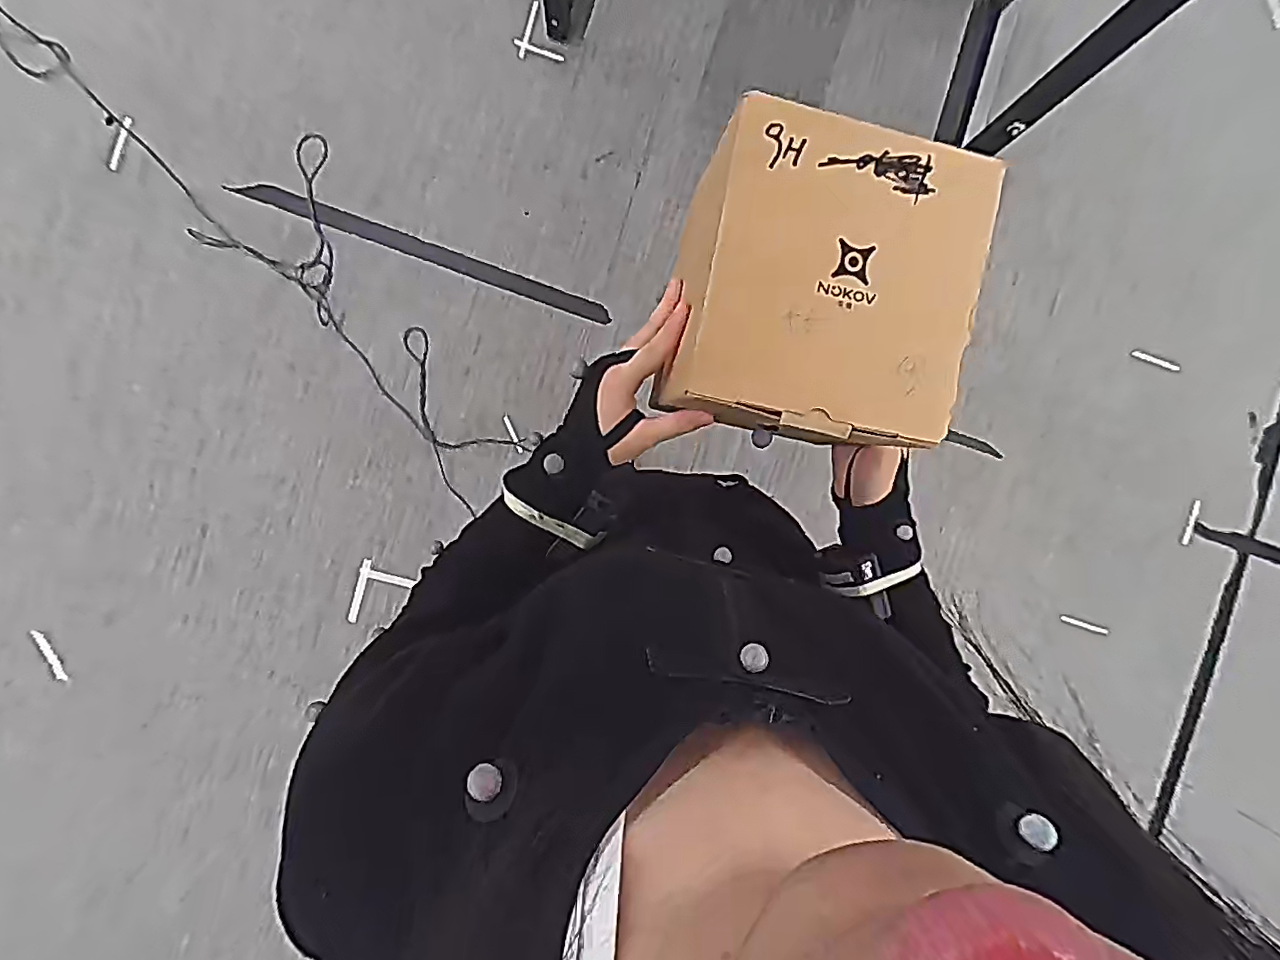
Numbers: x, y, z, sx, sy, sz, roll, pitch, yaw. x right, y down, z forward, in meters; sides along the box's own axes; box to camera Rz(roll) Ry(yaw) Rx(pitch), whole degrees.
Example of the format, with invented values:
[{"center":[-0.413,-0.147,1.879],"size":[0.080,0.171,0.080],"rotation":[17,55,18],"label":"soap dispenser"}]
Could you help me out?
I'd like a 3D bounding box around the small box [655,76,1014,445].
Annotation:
[{"center":[0.112,-0.128,0.388],"size":[0.168,0.176,0.179],"rotation":[10,94,-8],"label":"small box"}]
